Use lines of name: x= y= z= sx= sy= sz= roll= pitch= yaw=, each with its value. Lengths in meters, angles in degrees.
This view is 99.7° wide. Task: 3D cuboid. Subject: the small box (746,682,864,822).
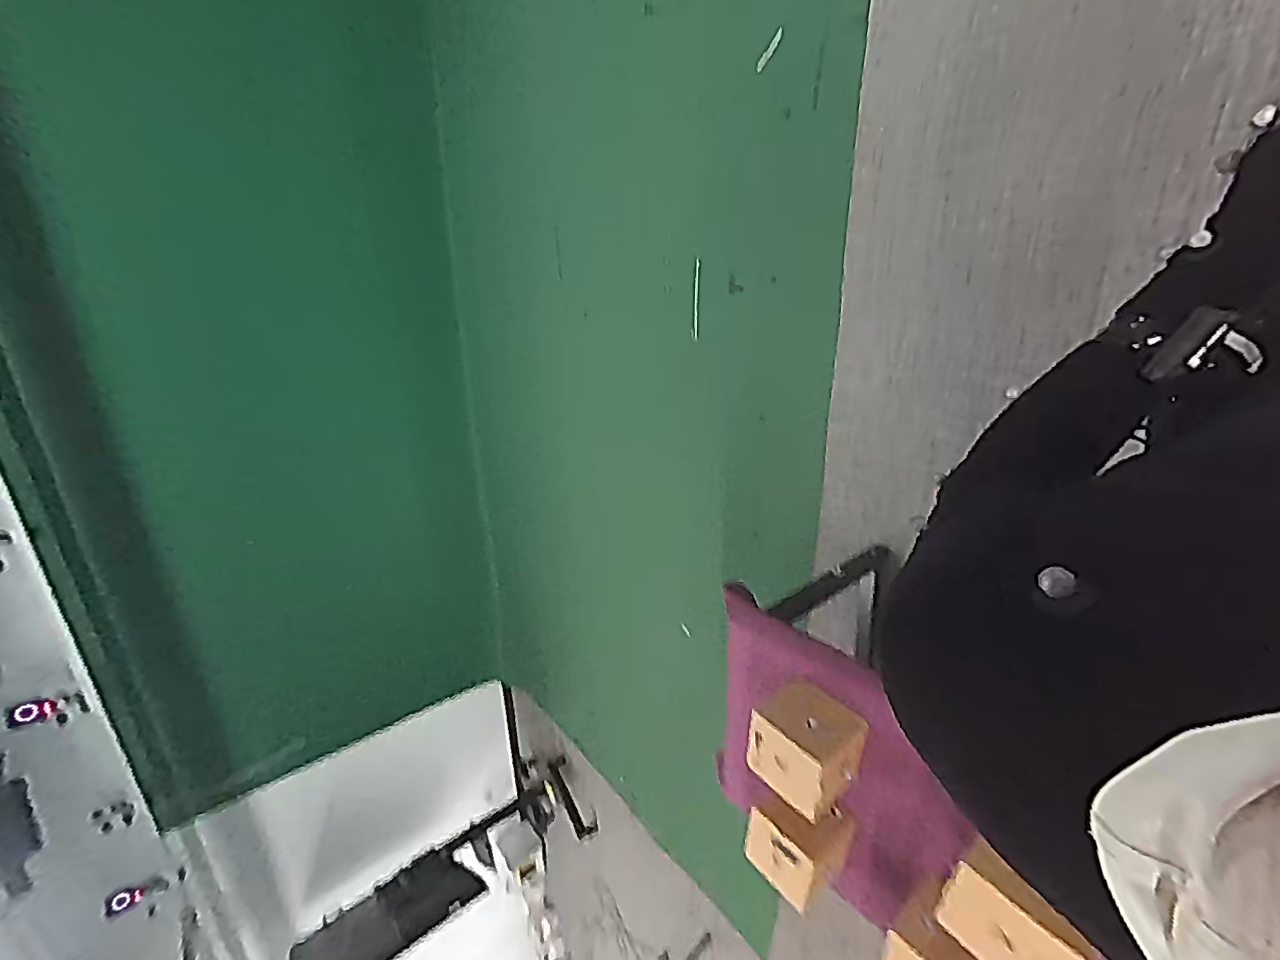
small box: x=0.355 y=0.574 z=1.167 sx=0.179 sy=0.176 sz=0.168 roll=26 pitch=123 yaw=44

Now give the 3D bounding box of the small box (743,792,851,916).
small box: x=0.365 y=0.832 z=1.251 sx=0.168 sy=0.176 sz=0.179 roll=27 pitch=124 yaw=44

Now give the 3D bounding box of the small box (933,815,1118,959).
small box: x=0.618 y=0.685 z=0.873 sx=0.179 sy=0.176 sz=0.168 roll=29 pitch=126 yaw=42
